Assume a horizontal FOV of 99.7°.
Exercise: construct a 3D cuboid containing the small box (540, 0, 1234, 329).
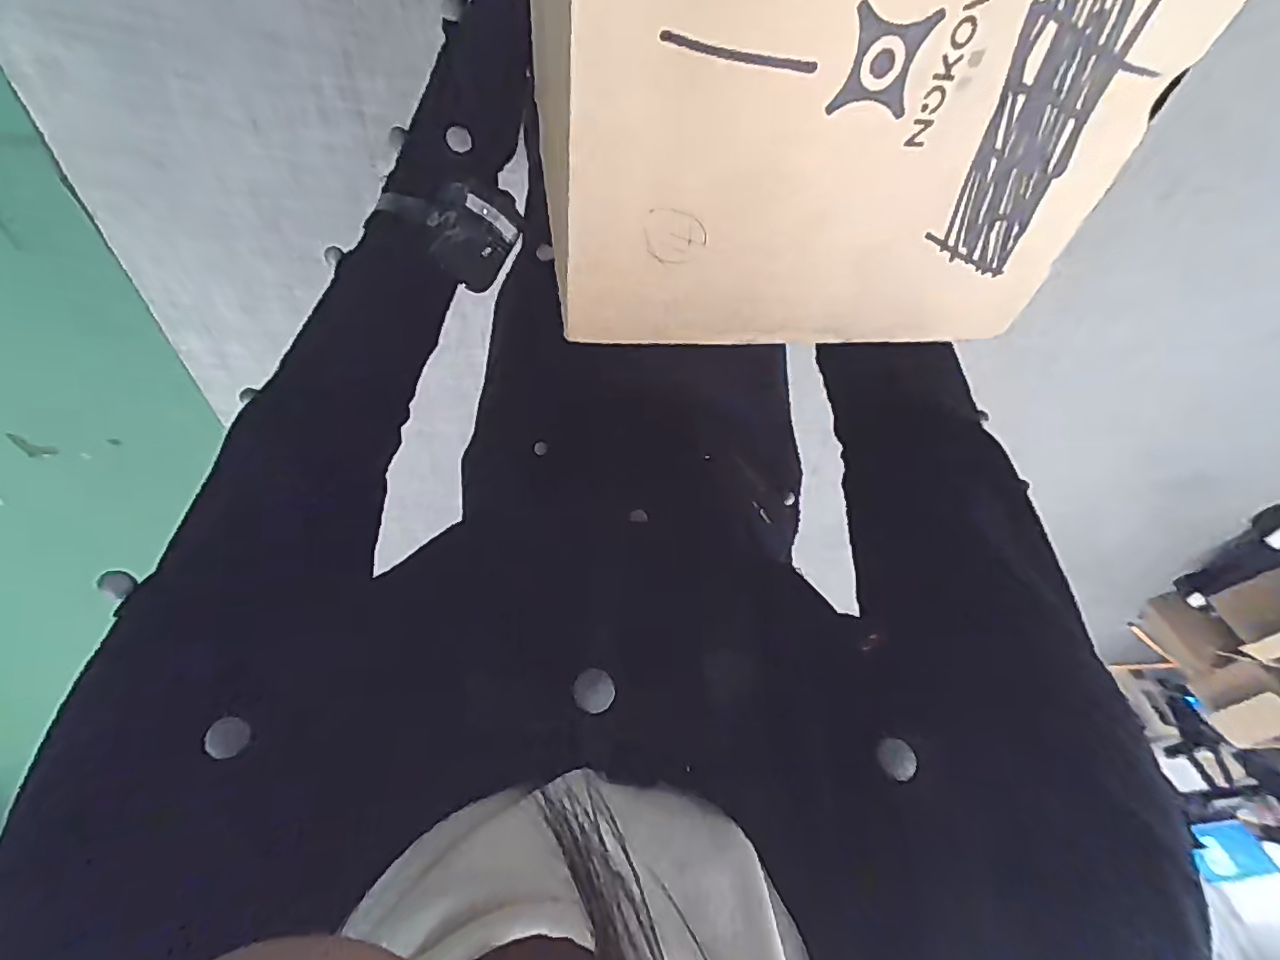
[{"bbox_3d":[0.056,-0.172,0.188,0.179,0.176,0.168,-2,140,-10],"label":"small box"}]
